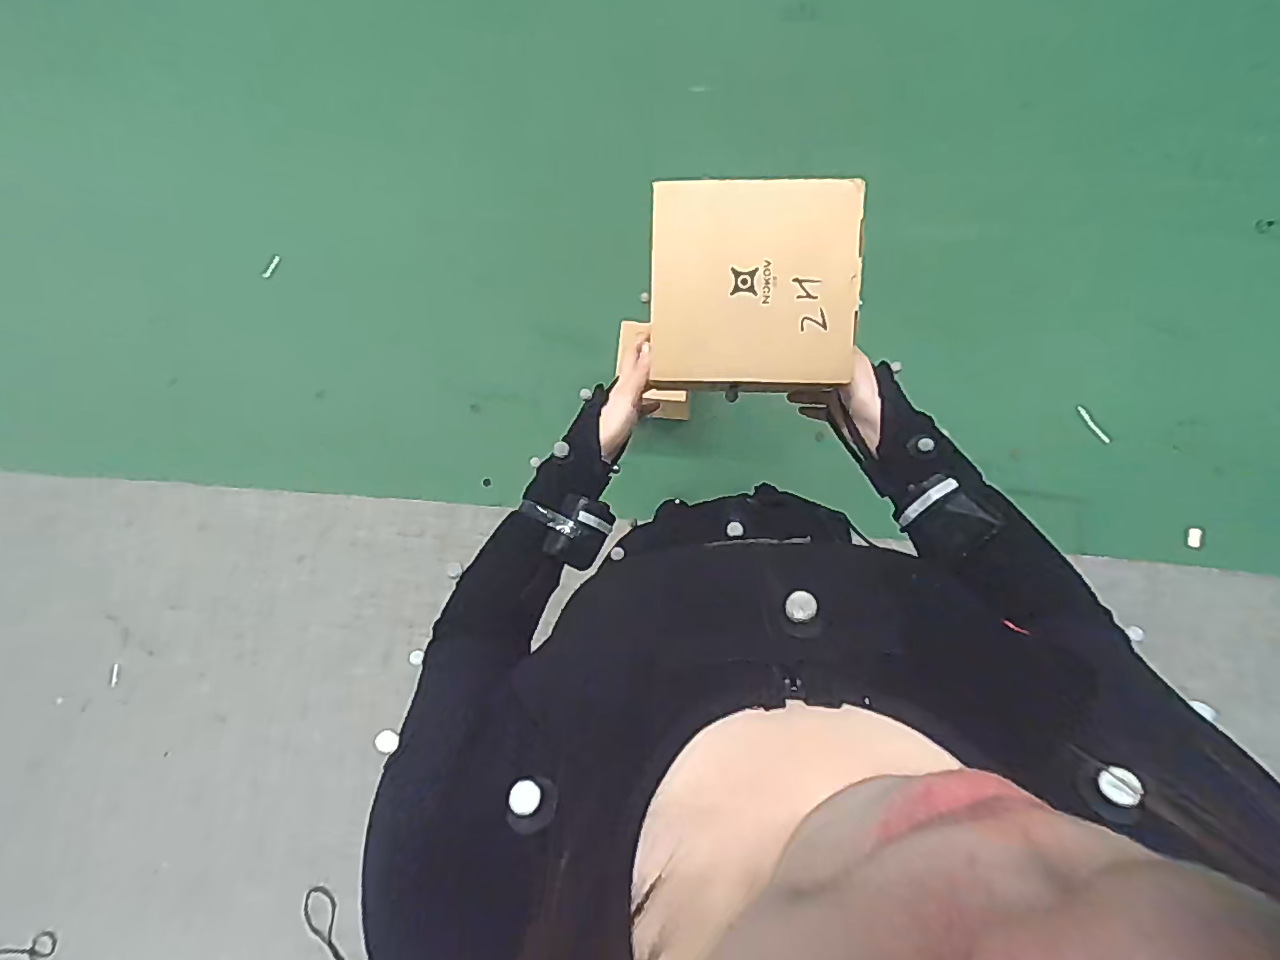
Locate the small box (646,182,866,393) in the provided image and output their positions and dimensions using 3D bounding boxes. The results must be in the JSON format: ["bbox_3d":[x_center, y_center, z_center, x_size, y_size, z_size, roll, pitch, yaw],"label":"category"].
[{"bbox_3d":[0.100,-0.172,0.531,0.179,0.176,0.168,1,98,3],"label":"small box"}]

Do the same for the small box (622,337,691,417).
[{"bbox_3d":[0.053,-0.270,1.450,0.168,0.176,0.179,5,88,6],"label":"small box"}]
